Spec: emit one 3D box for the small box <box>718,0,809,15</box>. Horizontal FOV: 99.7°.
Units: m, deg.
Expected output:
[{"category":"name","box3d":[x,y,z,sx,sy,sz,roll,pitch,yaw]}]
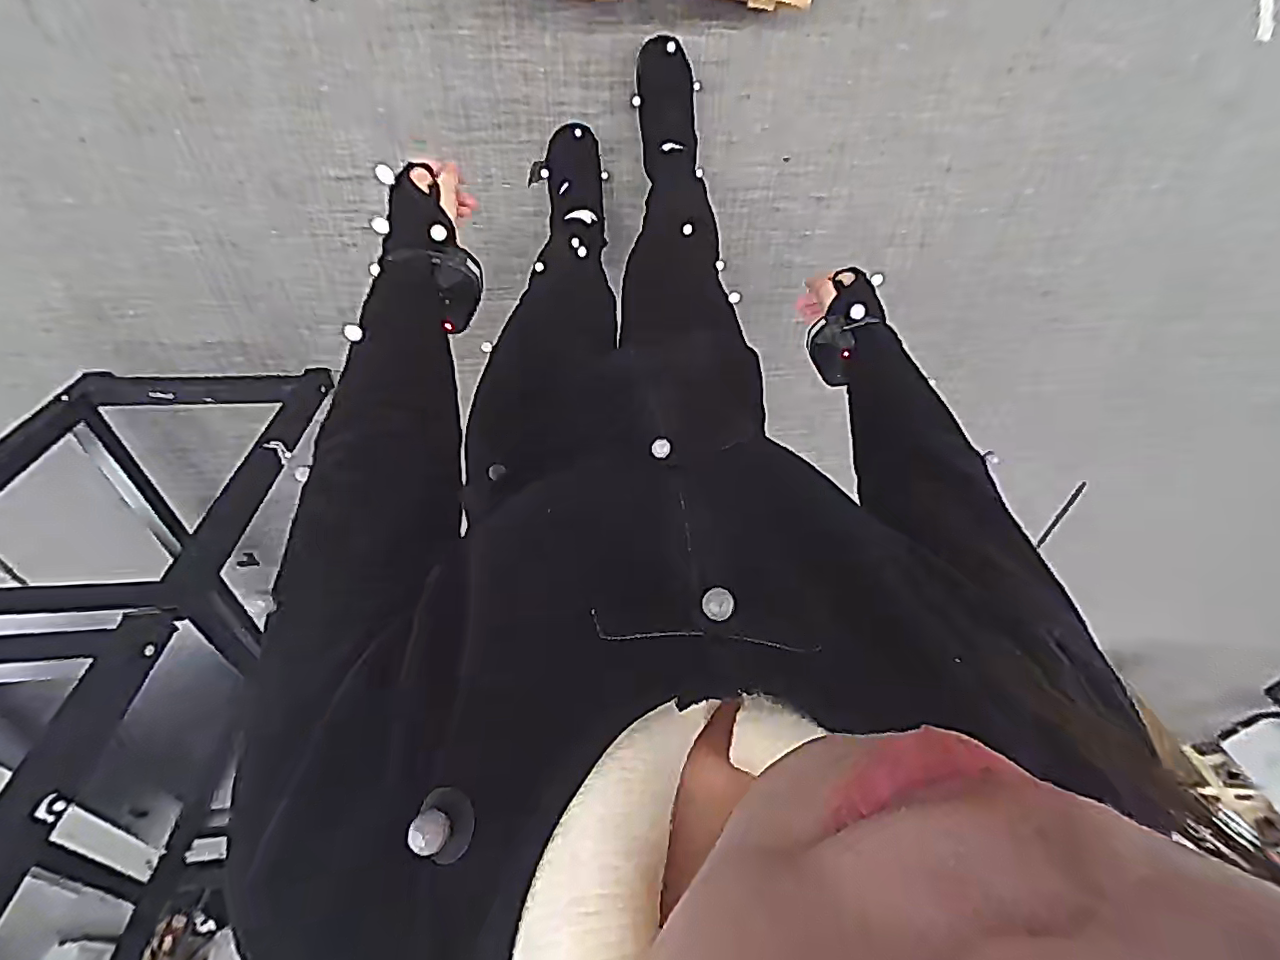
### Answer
[{"category":"small box","box3d":[0.193,-0.876,0.866,0.168,0.176,0.179,1,131,-10]}]
